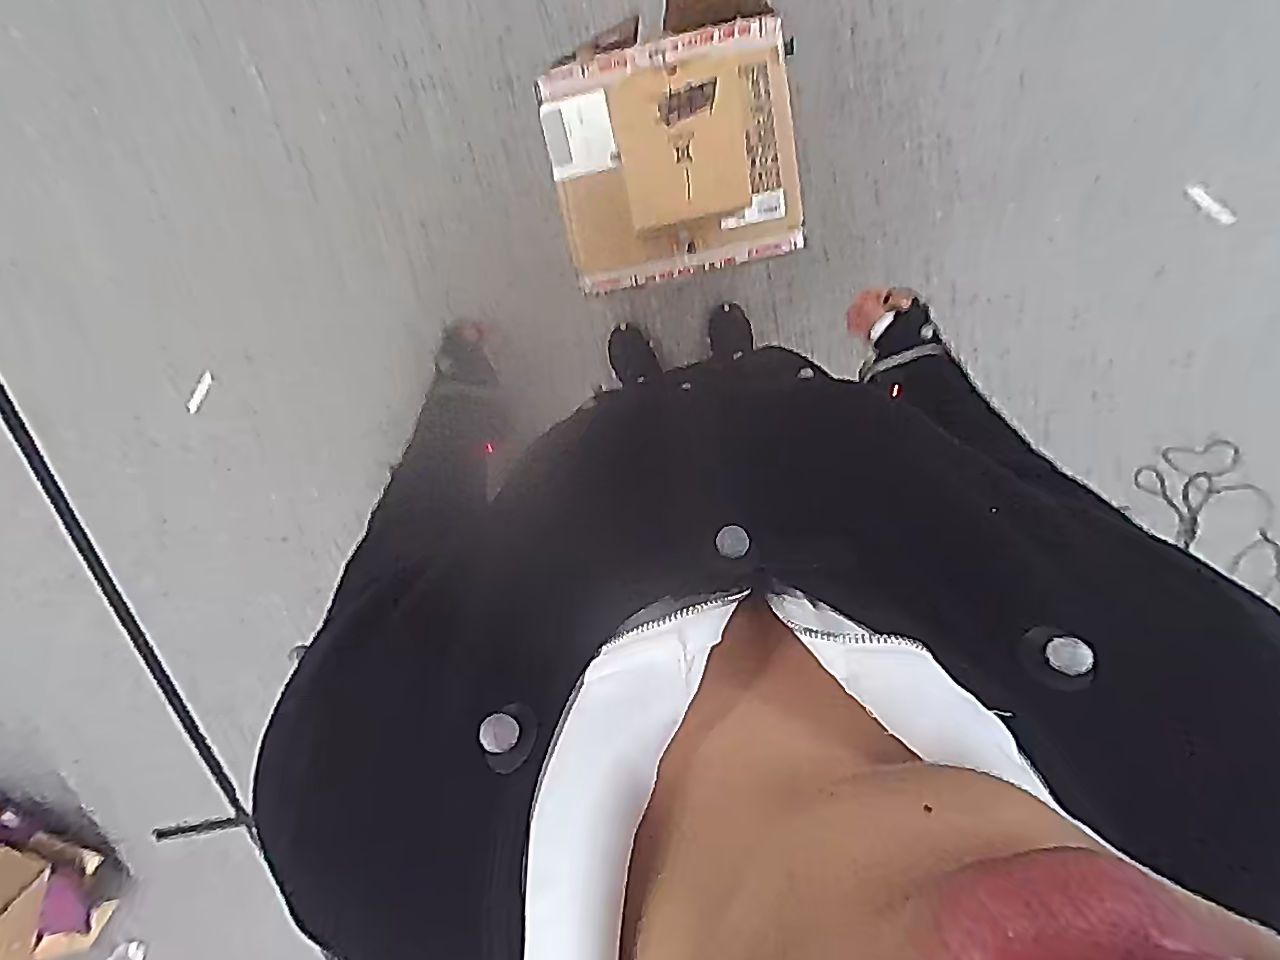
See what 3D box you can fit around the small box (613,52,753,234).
[{"bbox_3d":[0.056,-0.469,0.781,0.168,0.176,0.179,-11,111,3],"label":"small box"}]
